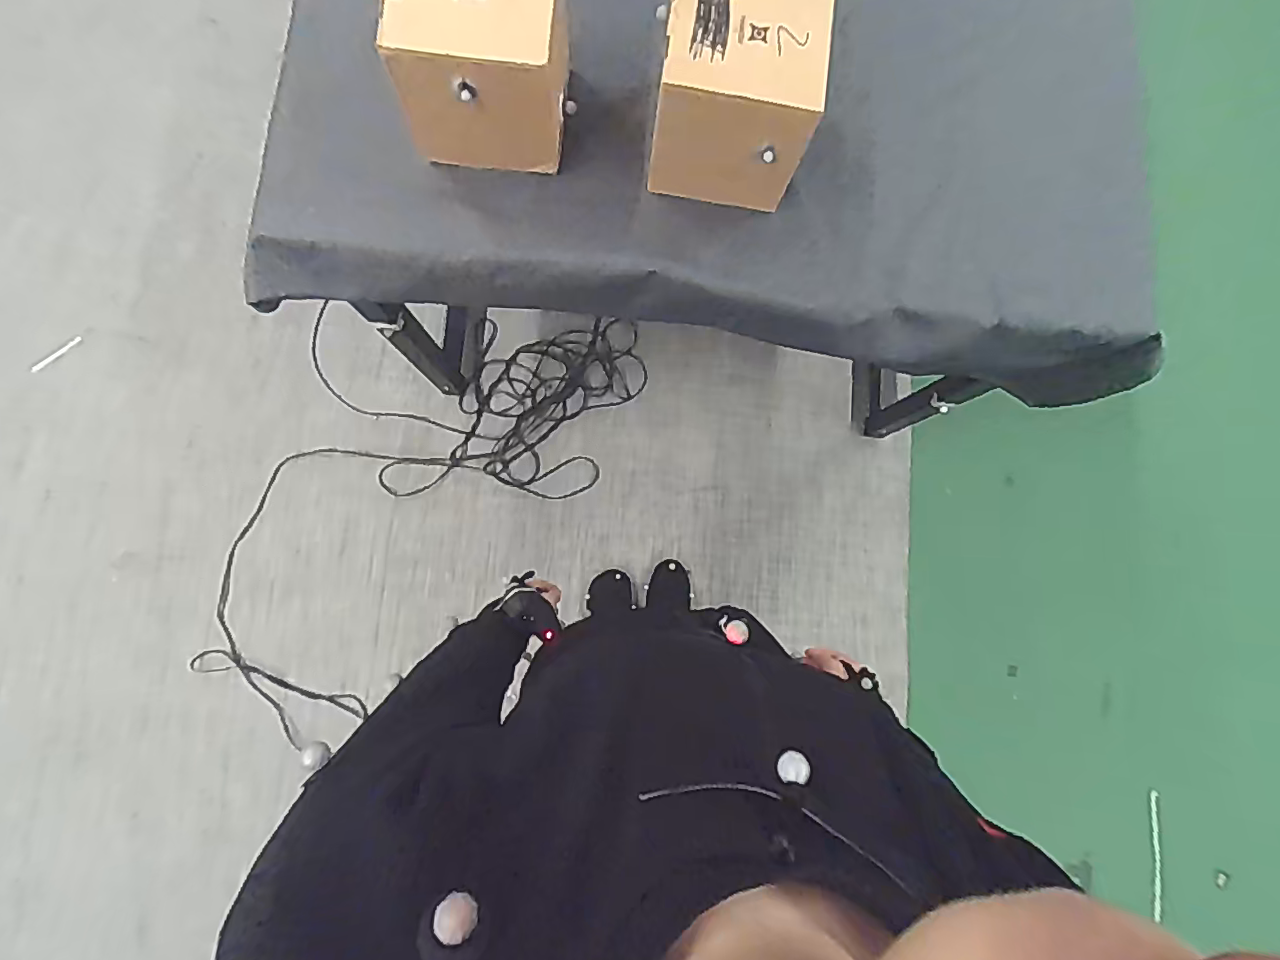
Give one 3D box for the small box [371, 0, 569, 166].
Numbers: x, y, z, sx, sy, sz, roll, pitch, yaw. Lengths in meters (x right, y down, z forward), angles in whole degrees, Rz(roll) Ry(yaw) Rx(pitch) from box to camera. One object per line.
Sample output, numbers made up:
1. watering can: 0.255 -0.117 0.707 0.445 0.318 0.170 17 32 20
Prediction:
1. small box: -0.183 -0.504 0.636 0.179 0.176 0.168 5 83 -4
